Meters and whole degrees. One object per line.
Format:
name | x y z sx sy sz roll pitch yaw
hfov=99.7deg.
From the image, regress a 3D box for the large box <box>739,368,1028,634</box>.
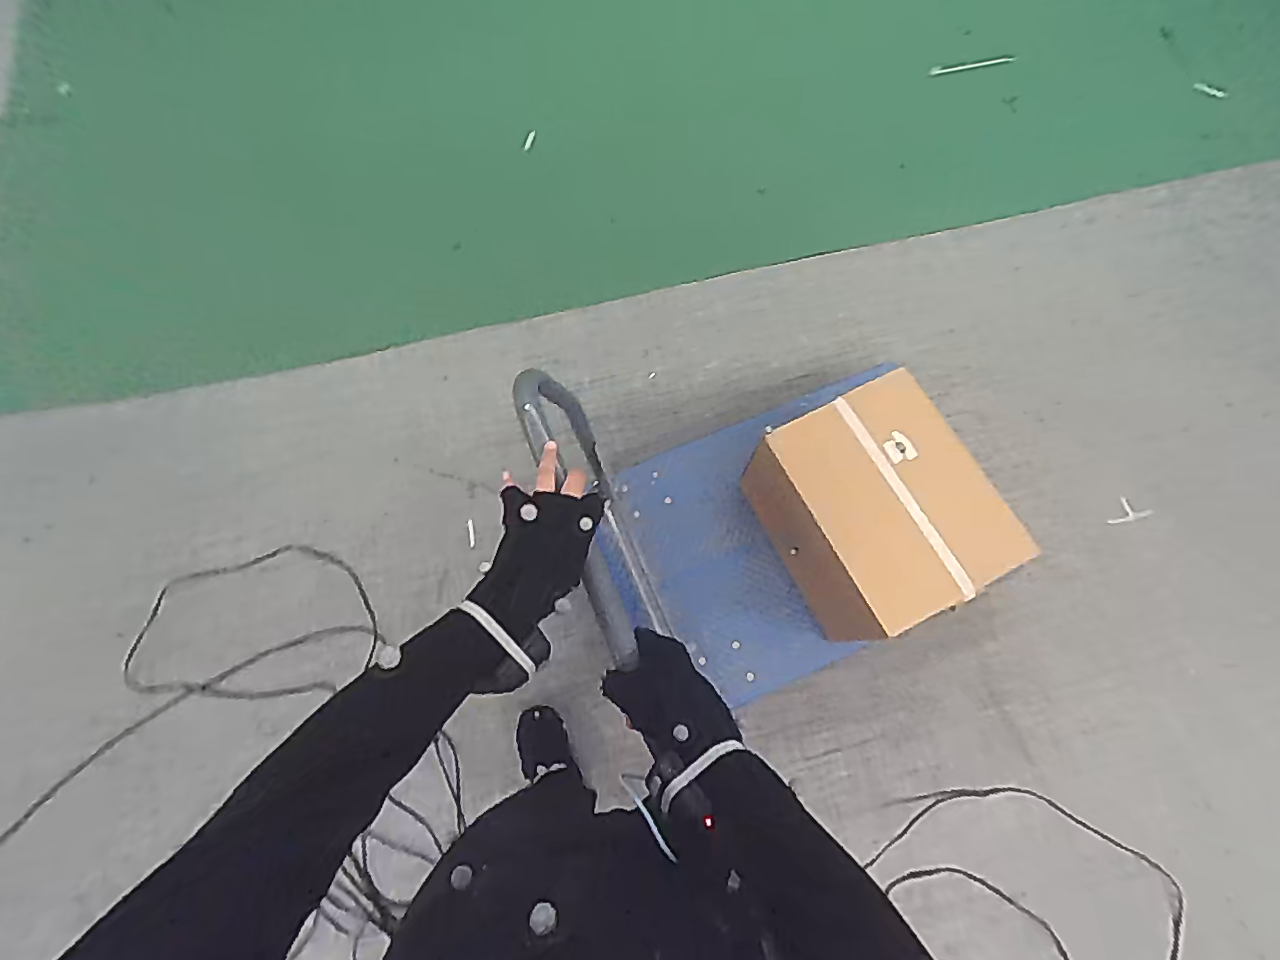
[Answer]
large box | 0.453 0.060 1.112 0.320 0.320 0.408 -27 73 -8
